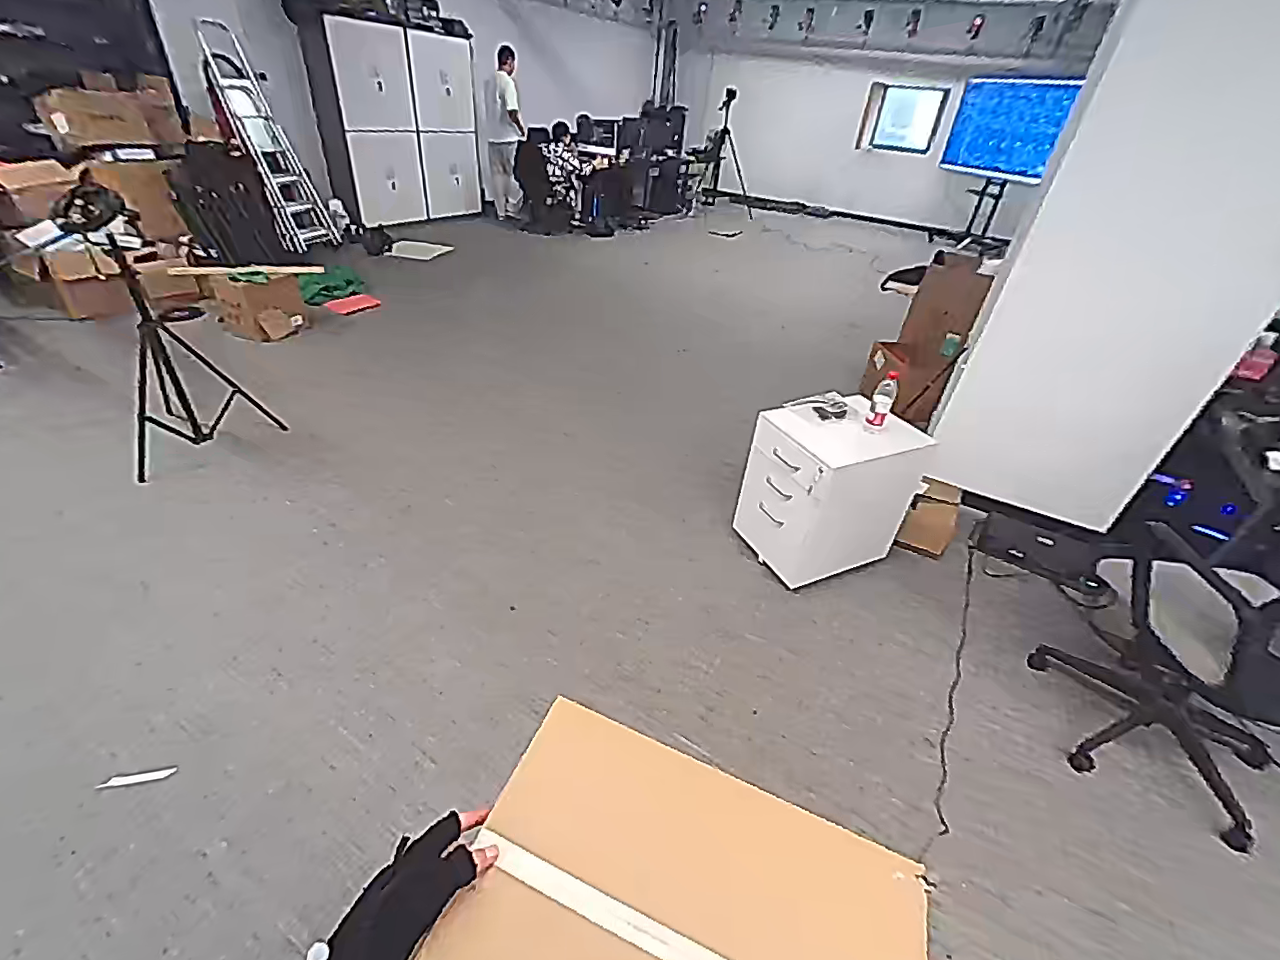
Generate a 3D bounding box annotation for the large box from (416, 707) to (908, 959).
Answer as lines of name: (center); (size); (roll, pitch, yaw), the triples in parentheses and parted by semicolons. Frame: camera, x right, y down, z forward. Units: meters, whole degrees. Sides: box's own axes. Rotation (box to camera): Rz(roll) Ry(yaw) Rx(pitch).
large box: (0.011, 0.520, 0.568); (0.408, 0.320, 0.320); (20, 42, 13)
